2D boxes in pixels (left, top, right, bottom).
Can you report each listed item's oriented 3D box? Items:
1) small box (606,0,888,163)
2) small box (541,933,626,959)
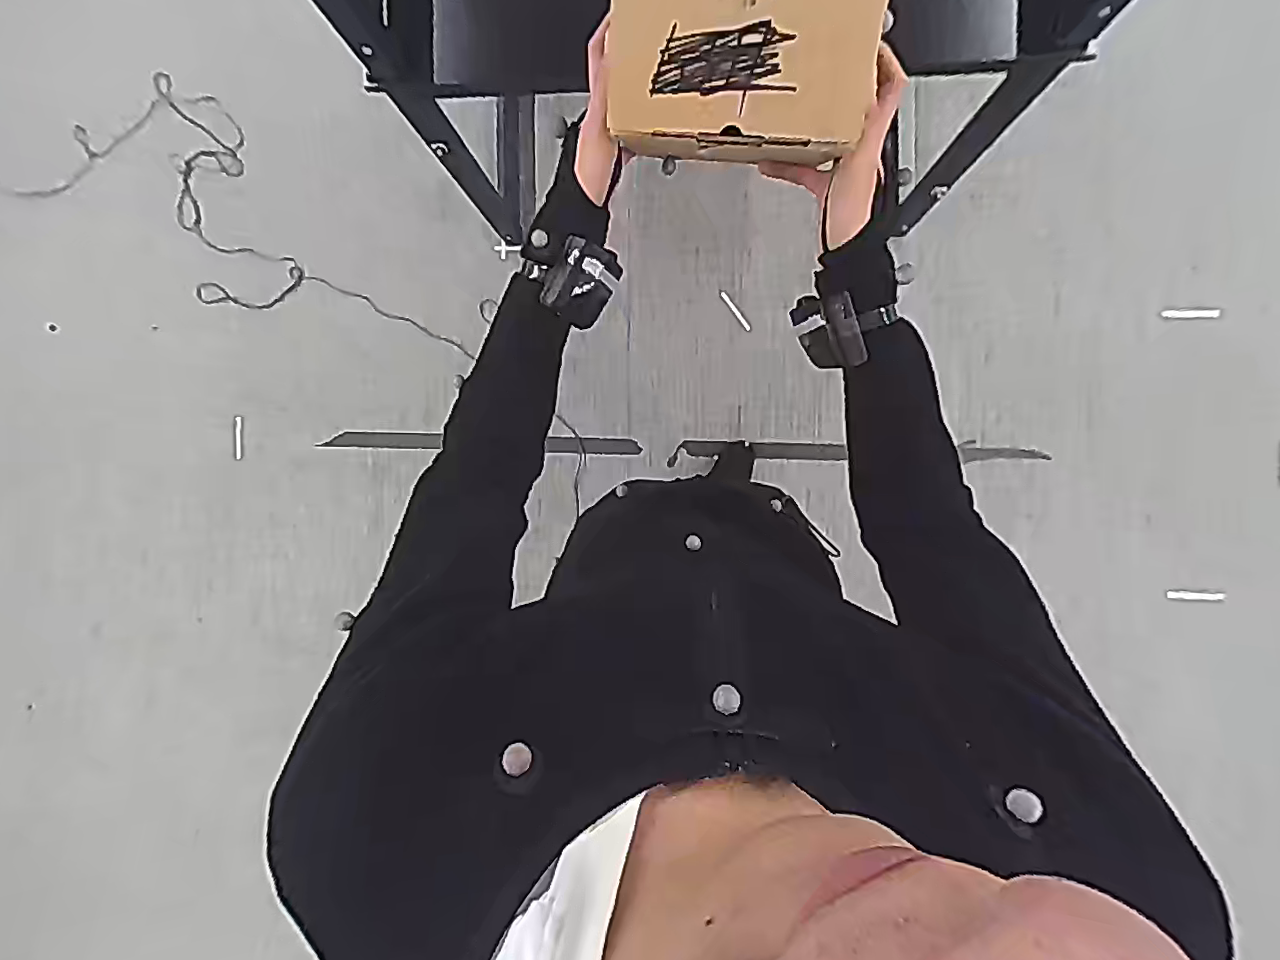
[{"bbox_3d":[0.074,-0.333,0.382,0.168,0.176,0.179,6,116,4],"label":"small box"},{"bbox_3d":[-0.111,1.016,1.025,0.168,0.176,0.179,-2,92,2],"label":"small box"}]
